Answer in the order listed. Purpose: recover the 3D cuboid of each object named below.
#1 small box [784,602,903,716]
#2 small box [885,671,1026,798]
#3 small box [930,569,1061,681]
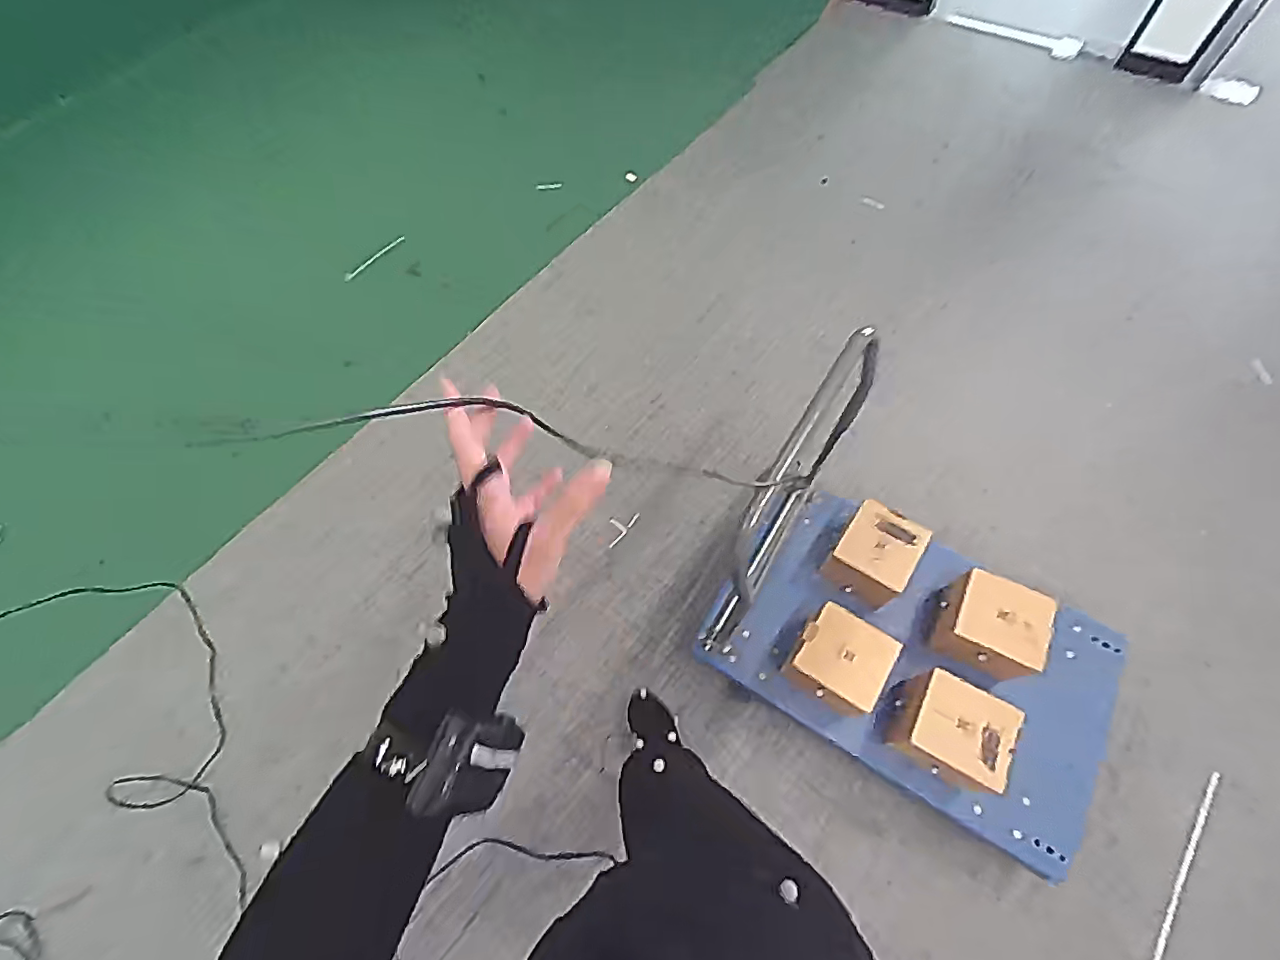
[{"bbox_3d":[0.444,0.404,1.206,0.179,0.176,0.168,31,69,19],"label":"small box"},{"bbox_3d":[0.646,0.525,1.124,0.179,0.176,0.168,27,67,18],"label":"small box"},{"bbox_3d":[0.786,0.332,1.212,0.179,0.176,0.168,26,68,17],"label":"small box"}]
